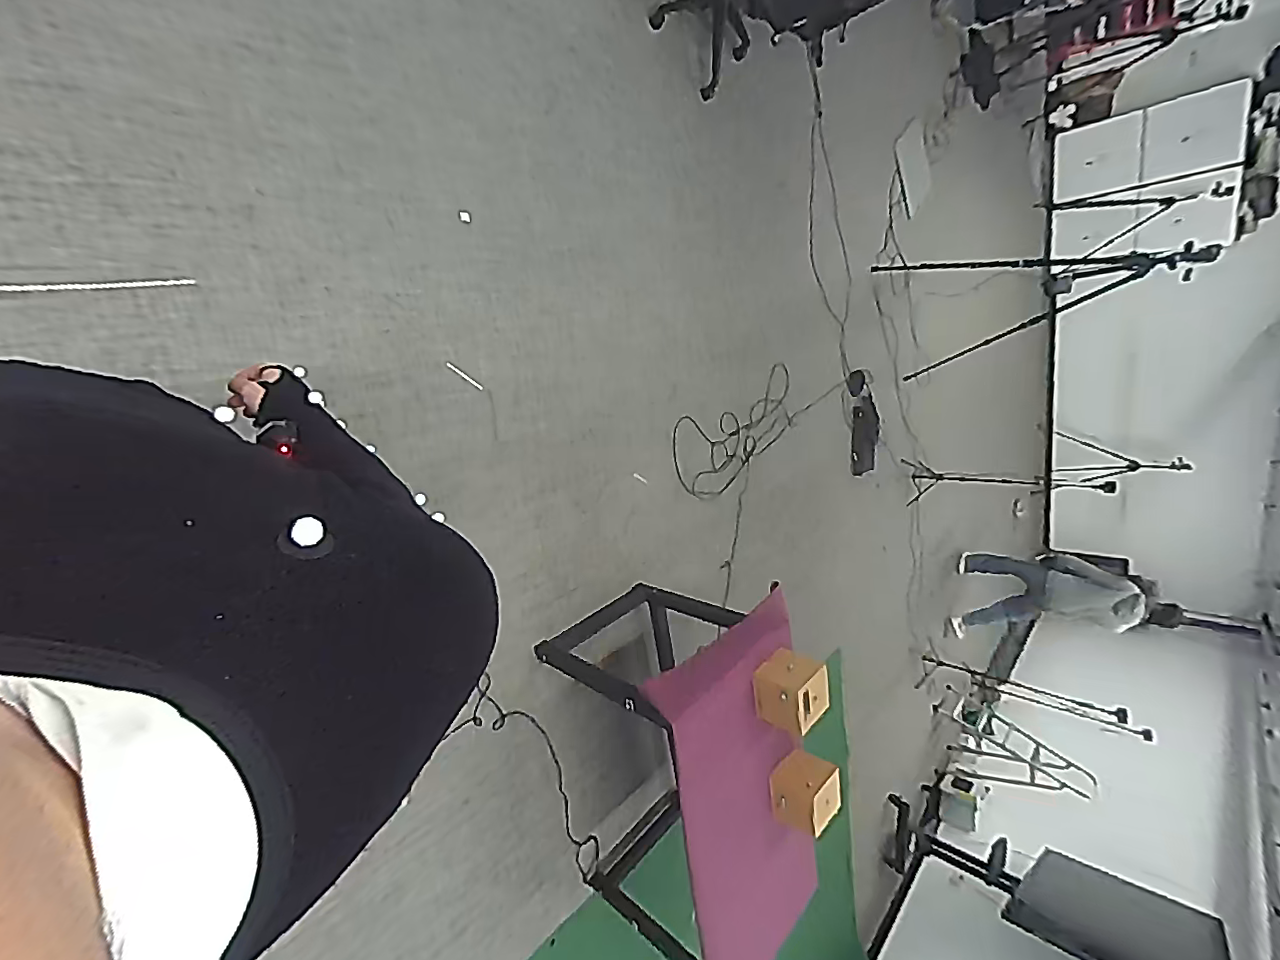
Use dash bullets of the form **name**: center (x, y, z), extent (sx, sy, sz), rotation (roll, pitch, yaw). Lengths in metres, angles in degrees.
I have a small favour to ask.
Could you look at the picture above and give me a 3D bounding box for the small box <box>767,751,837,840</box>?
- **small box**: center (0.559, 1.079, 1.868), extent (0.179, 0.176, 0.168), rotation (-18, 108, -39)
